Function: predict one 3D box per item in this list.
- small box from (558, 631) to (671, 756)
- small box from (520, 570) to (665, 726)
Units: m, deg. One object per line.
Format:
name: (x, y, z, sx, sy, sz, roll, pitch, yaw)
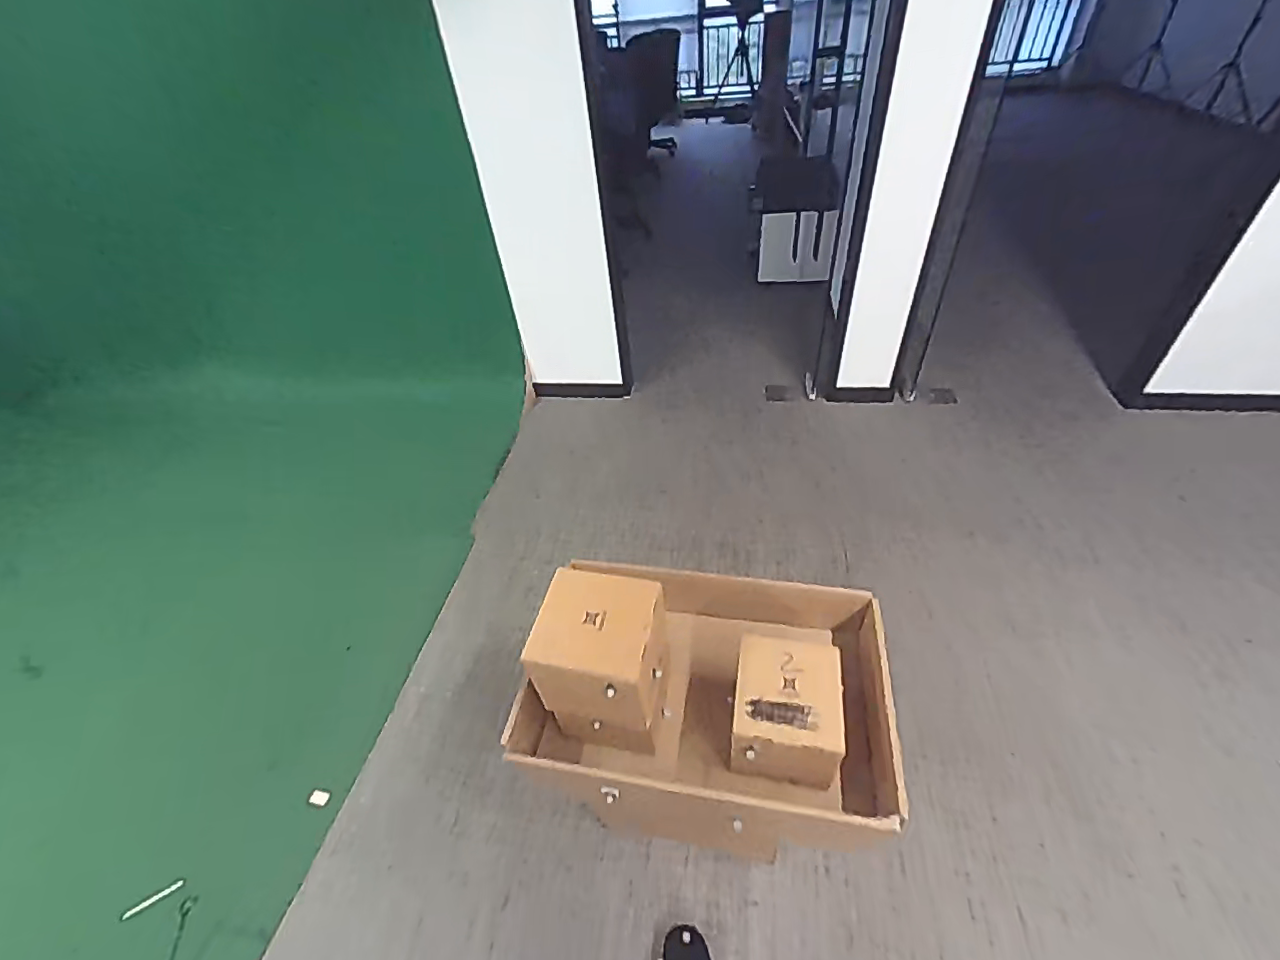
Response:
small box: (-0.045, 0.375, 0.979, 0.179, 0.176, 0.168, 6, 45, 12)
small box: (-0.063, 0.267, 0.858, 0.179, 0.176, 0.168, 6, 45, 13)
